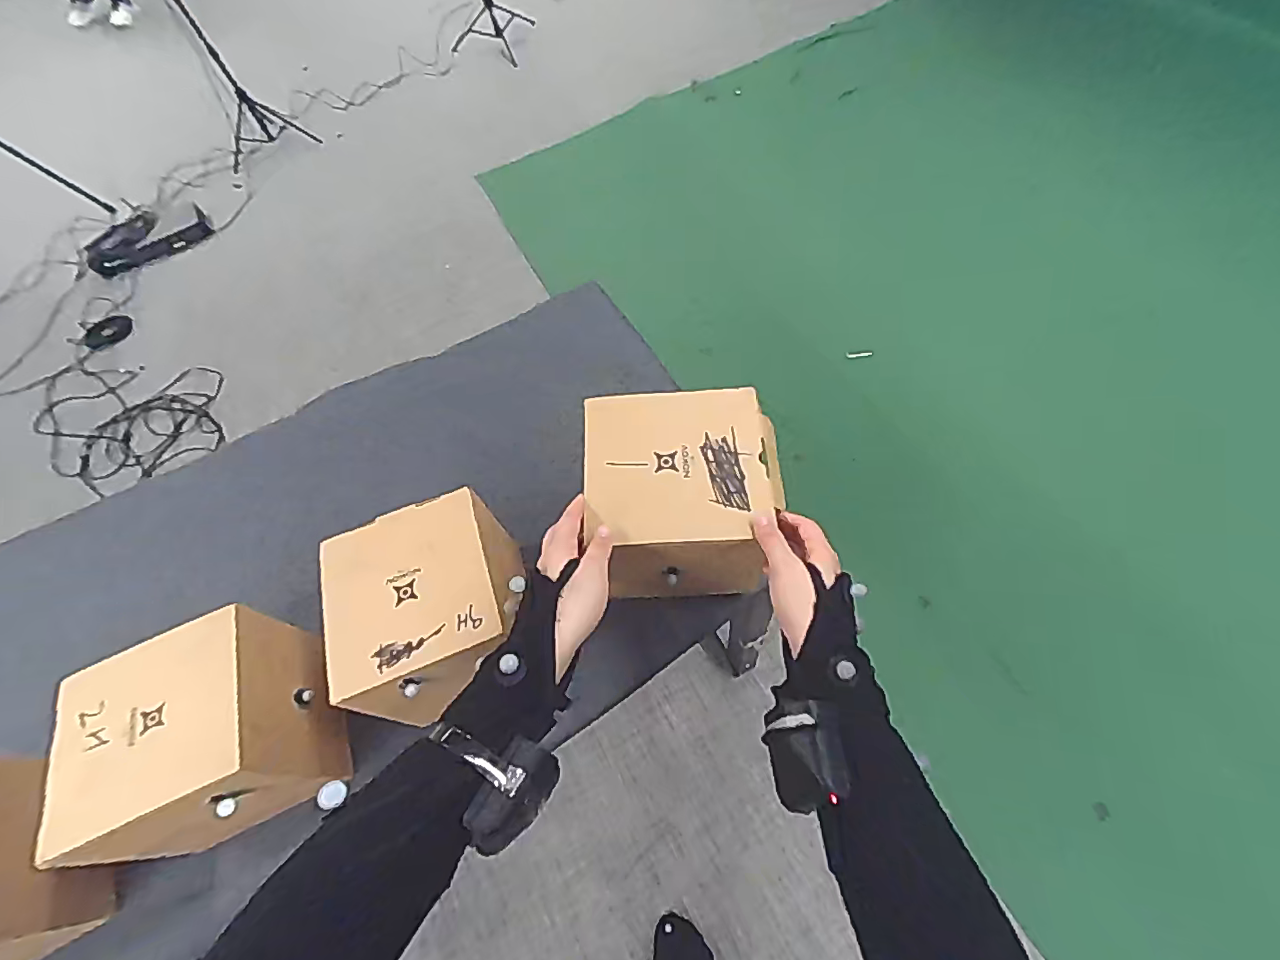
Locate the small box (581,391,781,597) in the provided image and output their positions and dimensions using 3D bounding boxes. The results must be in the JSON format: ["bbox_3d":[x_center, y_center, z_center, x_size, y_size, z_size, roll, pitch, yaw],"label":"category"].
[{"bbox_3d":[0.039,0.023,0.573,0.179,0.176,0.168,-2,63,3],"label":"small box"}]

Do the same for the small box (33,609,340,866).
[{"bbox_3d":[-0.438,0.262,0.560,0.179,0.176,0.168,-24,58,-5],"label":"small box"}]

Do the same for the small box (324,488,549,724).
[{"bbox_3d":[-0.217,0.144,0.596,0.168,0.176,0.179,-22,58,-3],"label":"small box"}]
